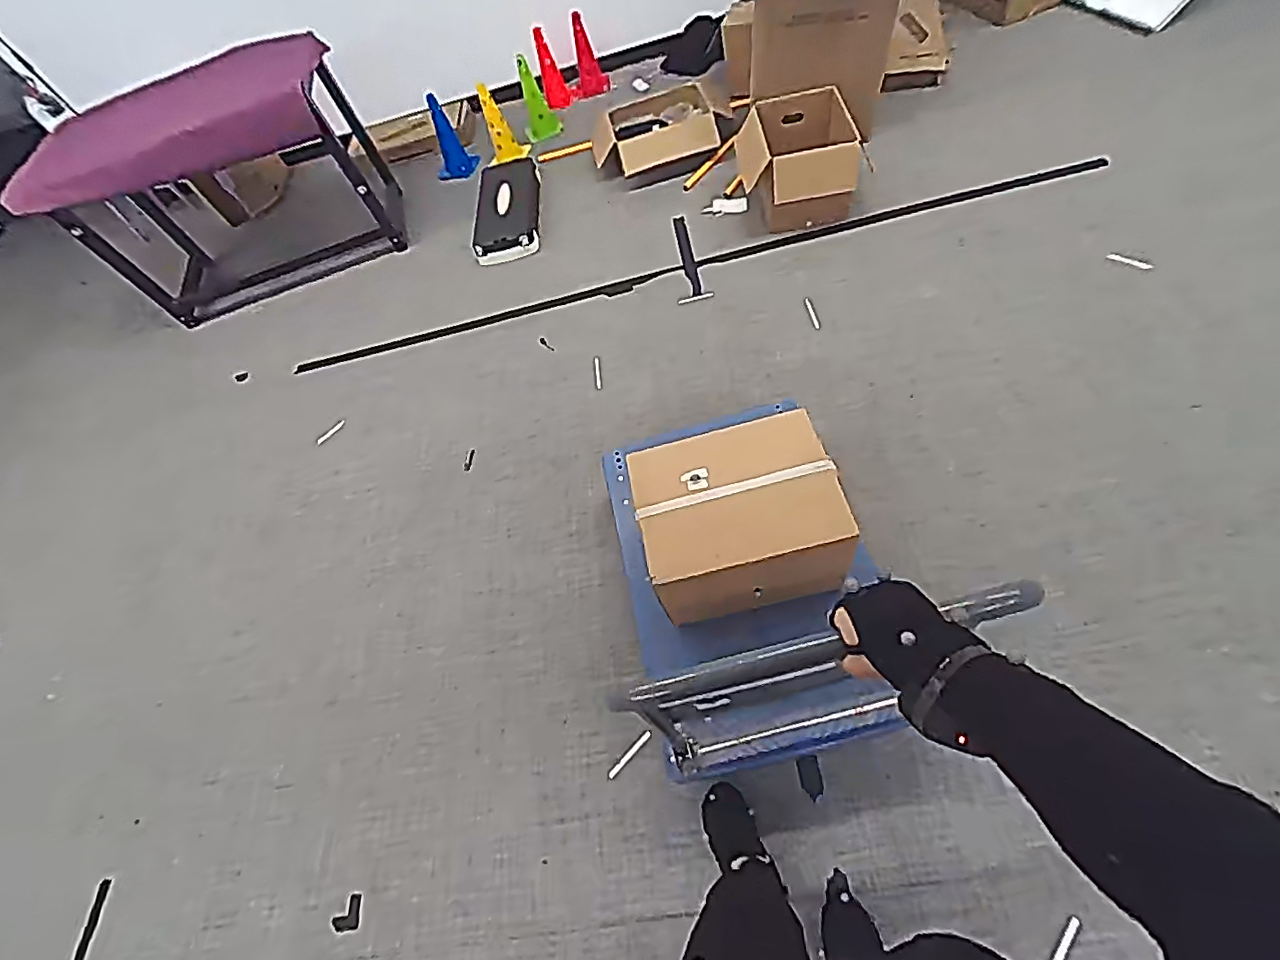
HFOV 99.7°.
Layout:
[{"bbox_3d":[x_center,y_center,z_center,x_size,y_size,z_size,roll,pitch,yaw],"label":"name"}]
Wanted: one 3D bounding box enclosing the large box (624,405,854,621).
[{"bbox_3d":[0.214,0.089,1.220,0.408,0.320,0.320,-16,57,5],"label":"large box"}]
